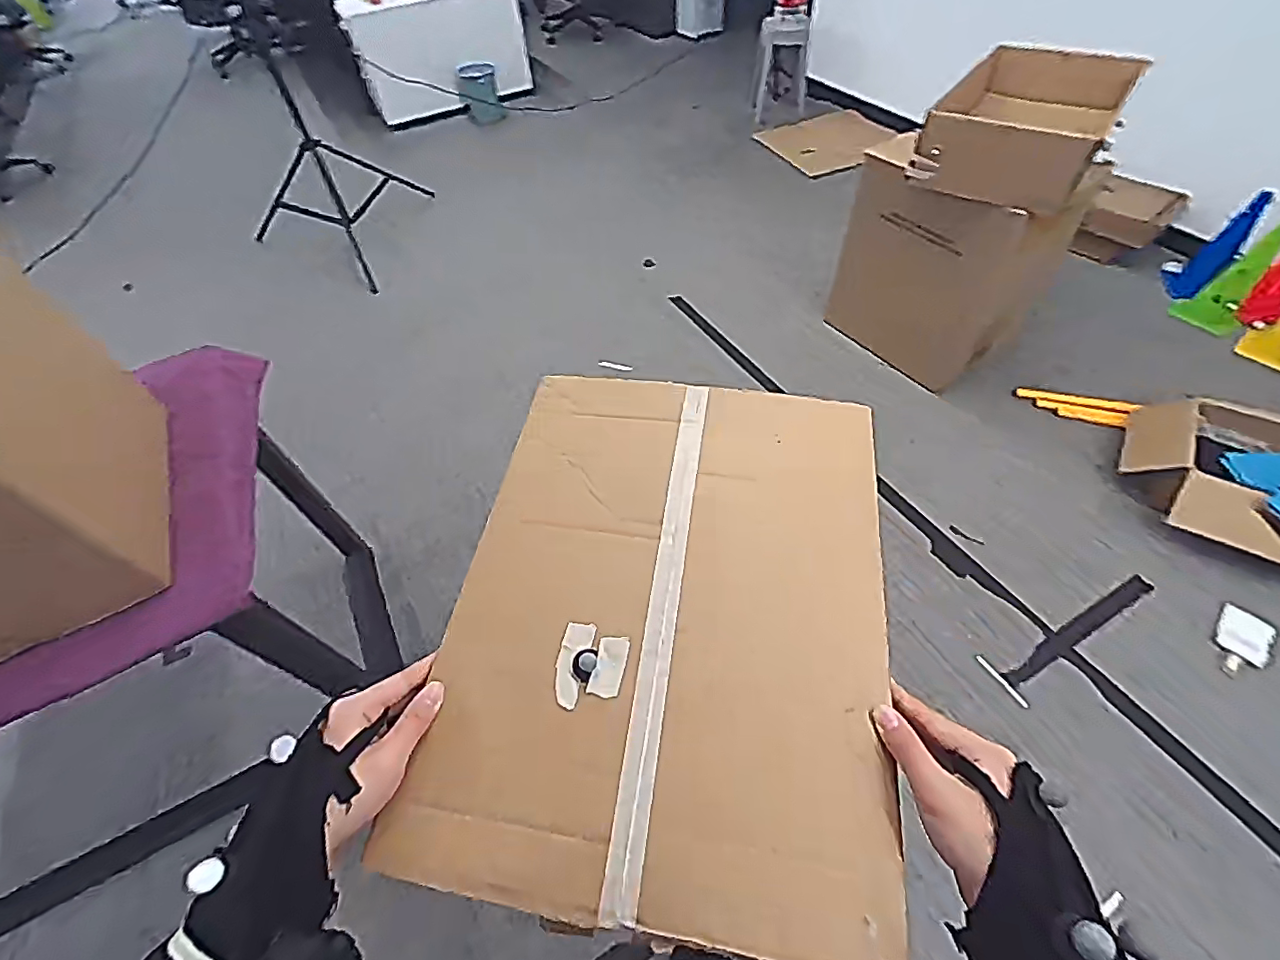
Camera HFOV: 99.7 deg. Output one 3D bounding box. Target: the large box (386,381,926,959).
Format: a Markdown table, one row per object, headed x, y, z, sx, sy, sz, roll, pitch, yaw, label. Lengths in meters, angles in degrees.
| x | y | z | sx | sy | sz | roll | pitch | yaw | label |
| --- | --- | --- | --- | --- | --- | --- | --- | --- | --- |
| 0.033 | 0.163 | 0.527 | 0.320 | 0.320 | 0.408 | 6 | 57 | 8 | large box |
